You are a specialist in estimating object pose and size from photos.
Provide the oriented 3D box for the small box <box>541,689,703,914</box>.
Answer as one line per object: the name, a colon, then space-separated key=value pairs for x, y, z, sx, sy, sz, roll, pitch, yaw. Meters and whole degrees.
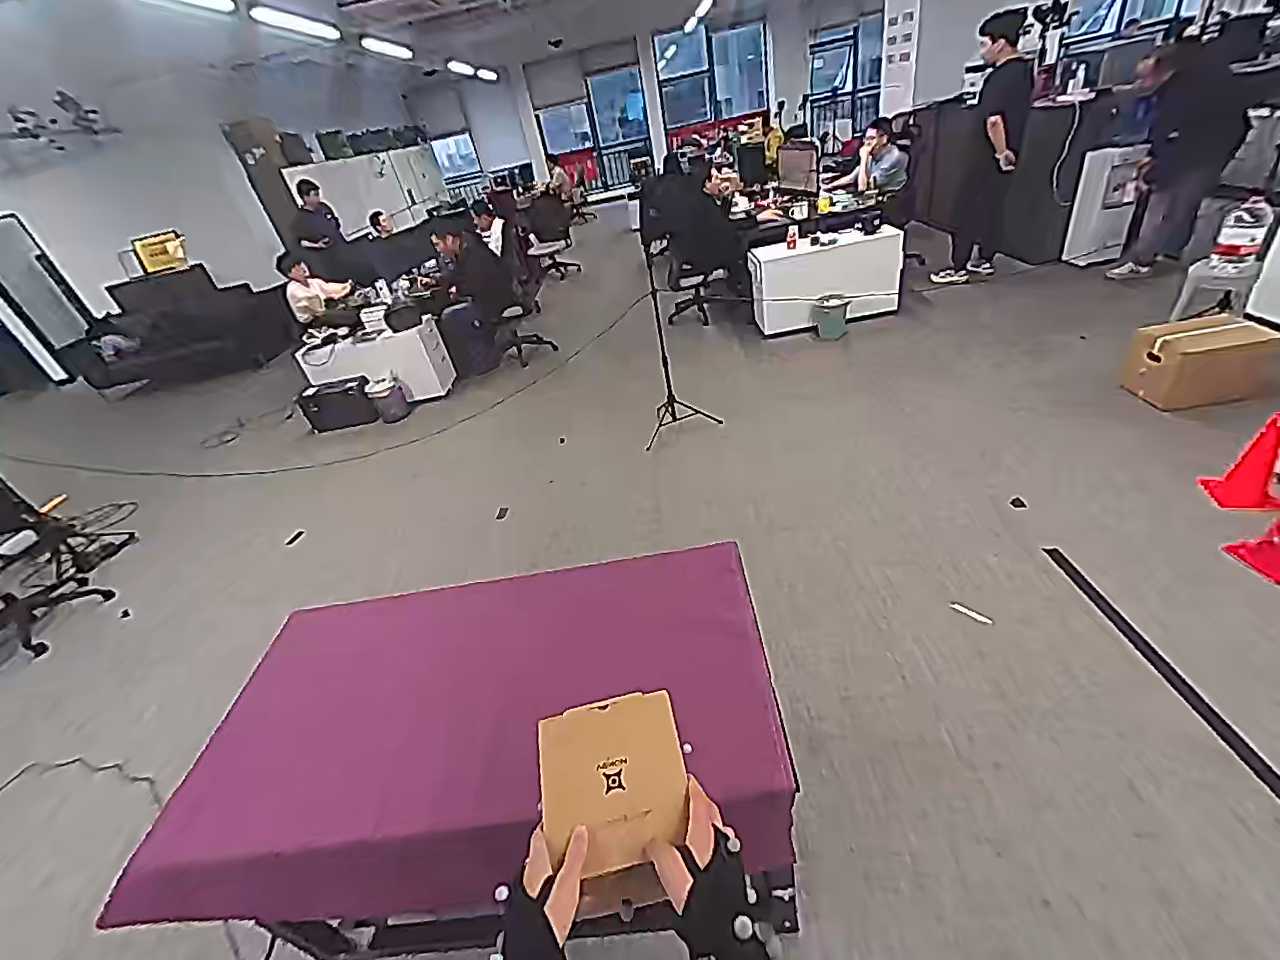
small box: x=-0.023 y=0.392 z=0.664 sx=0.168 sy=0.176 sz=0.179 roll=-12 pitch=41 yaw=-3
